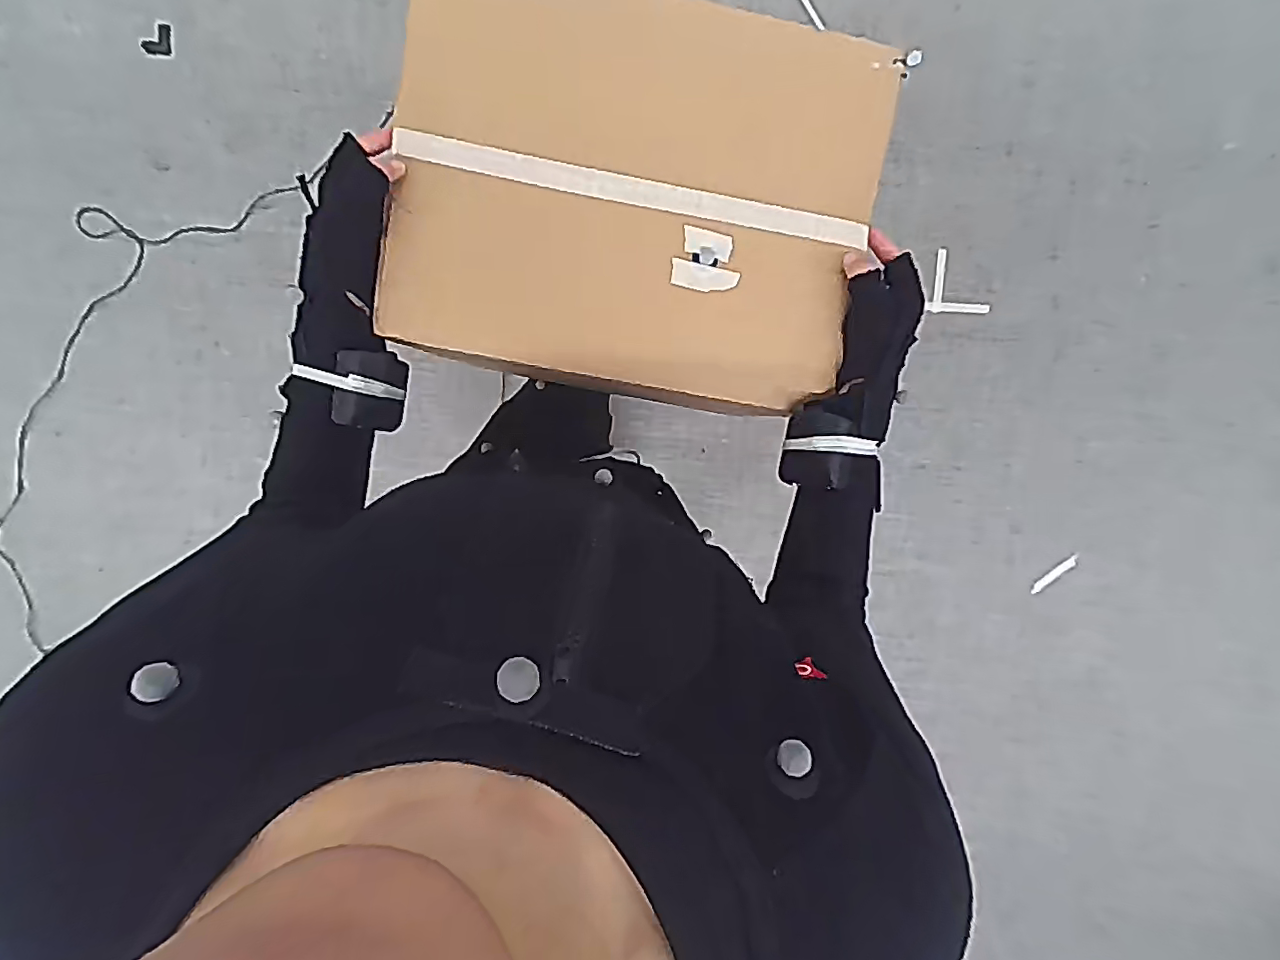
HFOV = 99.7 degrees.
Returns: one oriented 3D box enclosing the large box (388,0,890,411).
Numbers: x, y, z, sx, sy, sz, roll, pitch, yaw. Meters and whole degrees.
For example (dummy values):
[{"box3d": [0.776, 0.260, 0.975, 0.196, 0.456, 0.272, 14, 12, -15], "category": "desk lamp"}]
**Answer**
[{"box3d": [-0.013, -0.262, 0.615, 0.408, 0.320, 0.320, 10, 98, -5], "category": "large box"}]
